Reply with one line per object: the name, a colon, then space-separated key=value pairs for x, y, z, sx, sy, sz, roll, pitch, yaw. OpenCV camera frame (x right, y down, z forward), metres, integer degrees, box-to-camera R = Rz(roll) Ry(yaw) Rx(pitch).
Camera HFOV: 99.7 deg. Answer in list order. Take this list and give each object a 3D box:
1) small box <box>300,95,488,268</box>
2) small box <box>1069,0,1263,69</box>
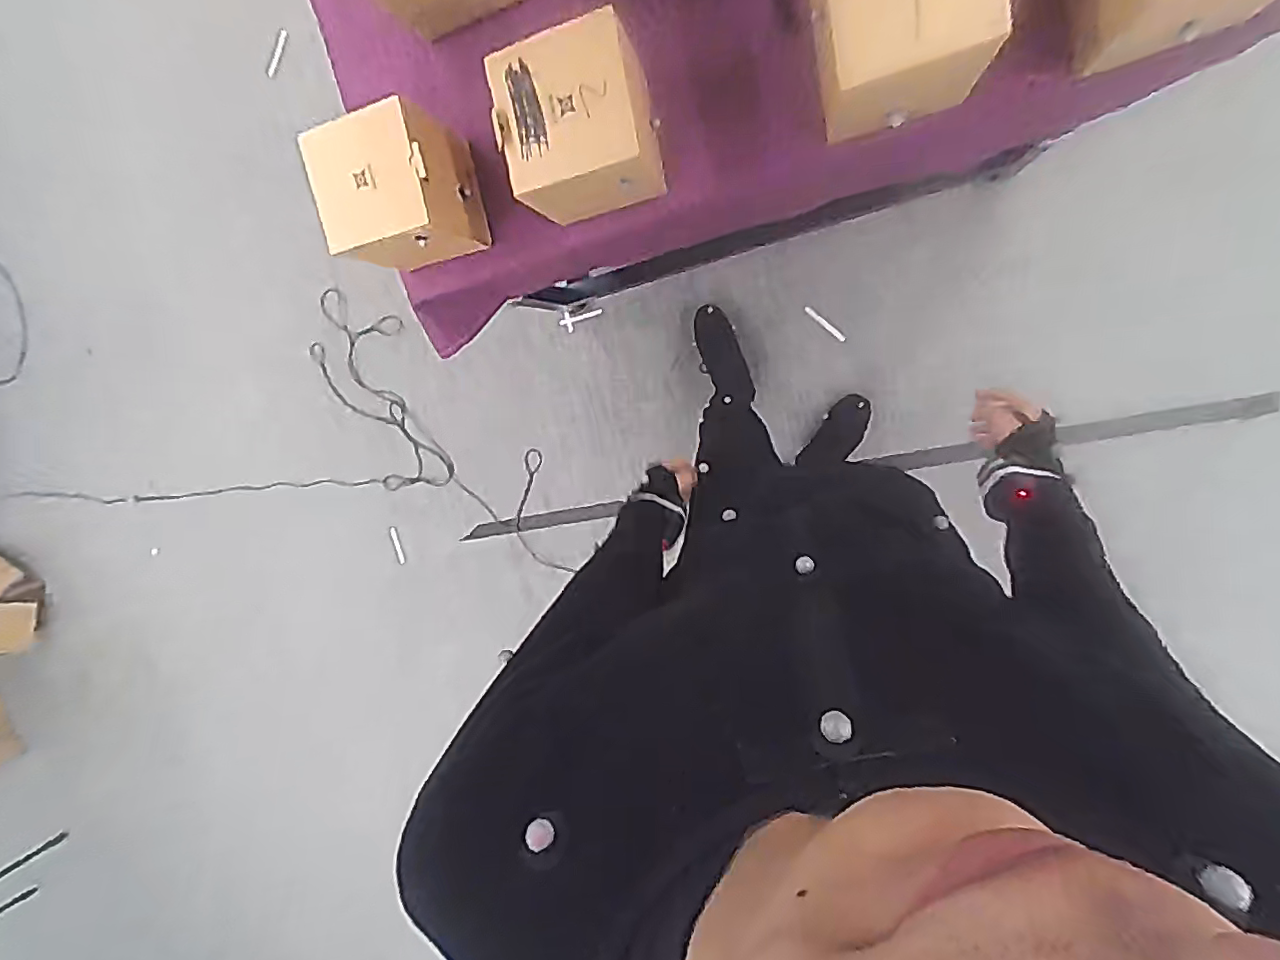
small box: x=-0.363 y=-0.435 z=0.824 sx=0.179 sy=0.176 sz=0.168 roll=-9 pitch=101 yaw=15
small box: x=0.559 y=-0.569 z=0.539 sx=0.168 sy=0.176 sz=0.179 roll=-10 pitch=100 yaw=18
